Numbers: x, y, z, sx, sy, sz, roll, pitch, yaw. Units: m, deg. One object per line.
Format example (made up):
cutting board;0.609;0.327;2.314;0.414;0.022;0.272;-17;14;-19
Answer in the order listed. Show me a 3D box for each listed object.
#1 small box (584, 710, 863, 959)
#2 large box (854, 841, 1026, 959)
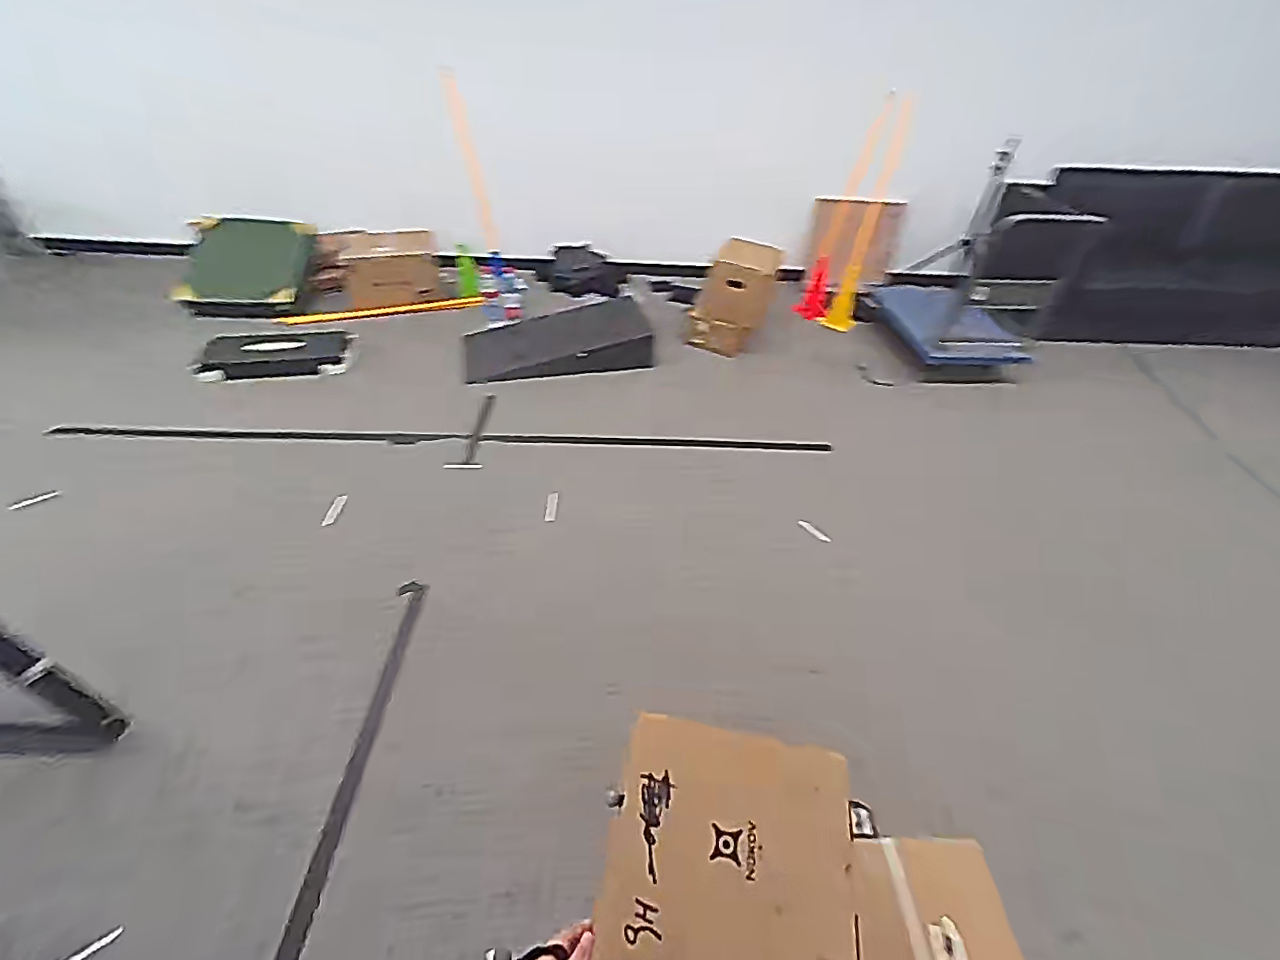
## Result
small box;0.059;0.316;0.444;0.179;0.176;0.168;12;48;1
large box;0.403;0.838;0.833;0.320;0.320;0.408;2;41;-2
